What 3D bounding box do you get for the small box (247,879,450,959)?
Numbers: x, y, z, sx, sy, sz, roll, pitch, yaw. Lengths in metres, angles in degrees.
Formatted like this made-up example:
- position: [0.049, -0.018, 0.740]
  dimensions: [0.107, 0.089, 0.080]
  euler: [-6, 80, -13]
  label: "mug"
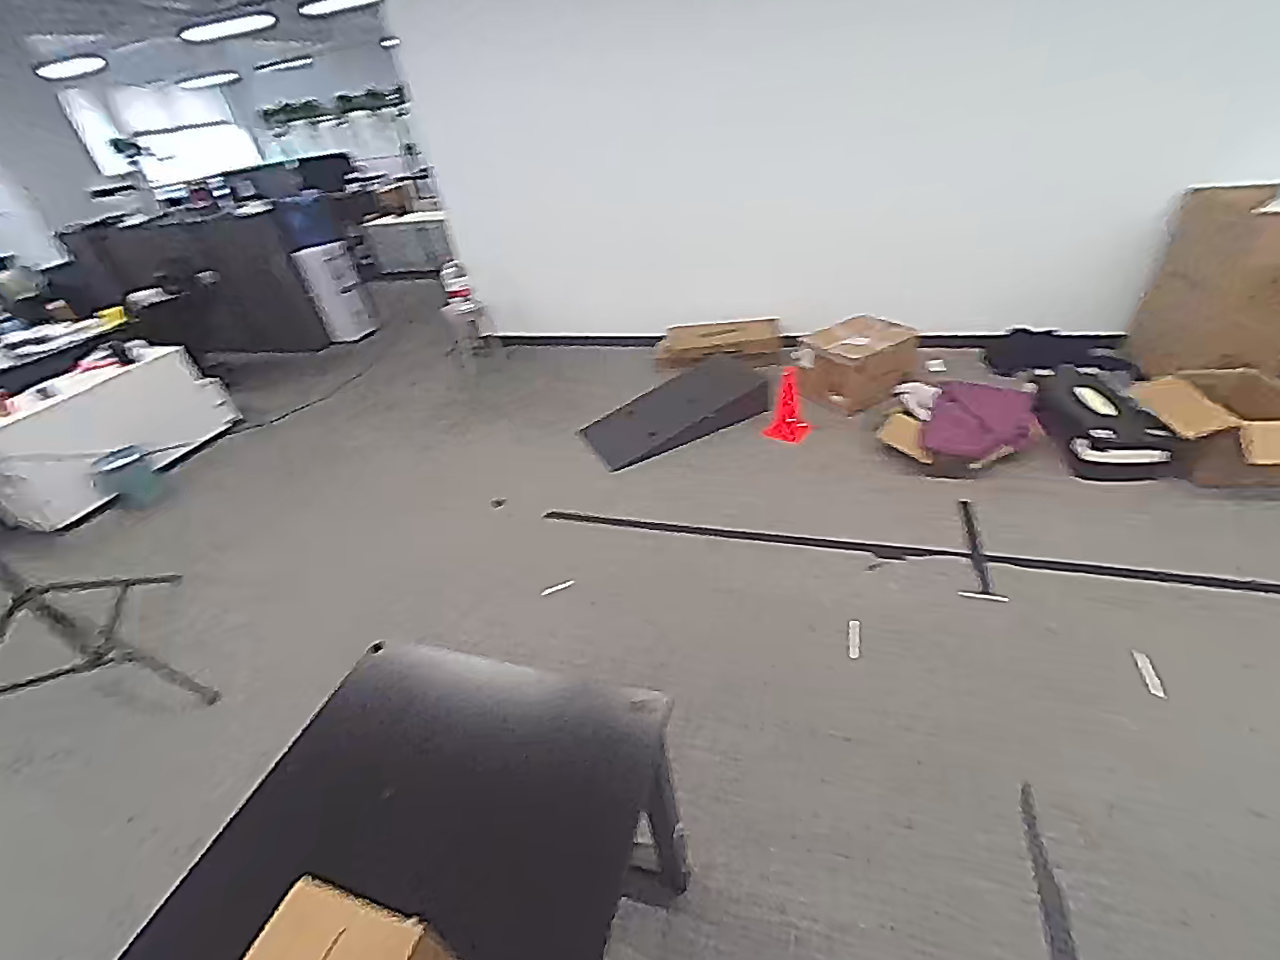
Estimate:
- position: [-0.310, 0.561, 0.552]
  dimensions: [0.168, 0.176, 0.179]
  euler: [4, 37, 18]
  label: "small box"
